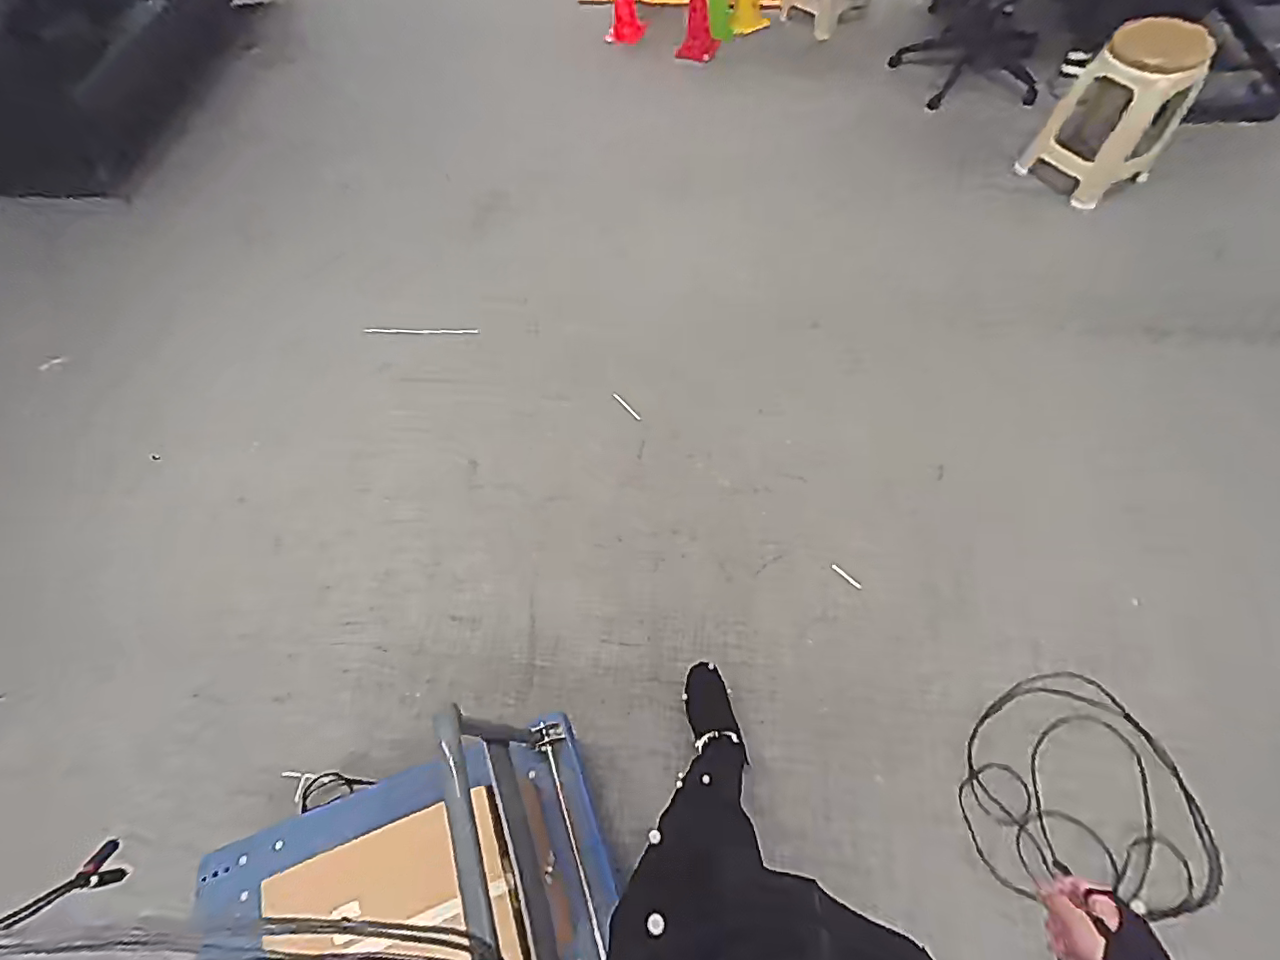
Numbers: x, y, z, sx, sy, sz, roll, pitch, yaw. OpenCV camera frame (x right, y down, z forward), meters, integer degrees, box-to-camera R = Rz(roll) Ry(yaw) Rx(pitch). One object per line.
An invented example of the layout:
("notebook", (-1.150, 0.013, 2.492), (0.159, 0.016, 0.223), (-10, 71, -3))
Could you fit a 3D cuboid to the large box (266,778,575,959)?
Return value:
("large box", (-0.380, 0.800, 1.000), (0.408, 0.320, 0.320), (-22, 63, -4))
